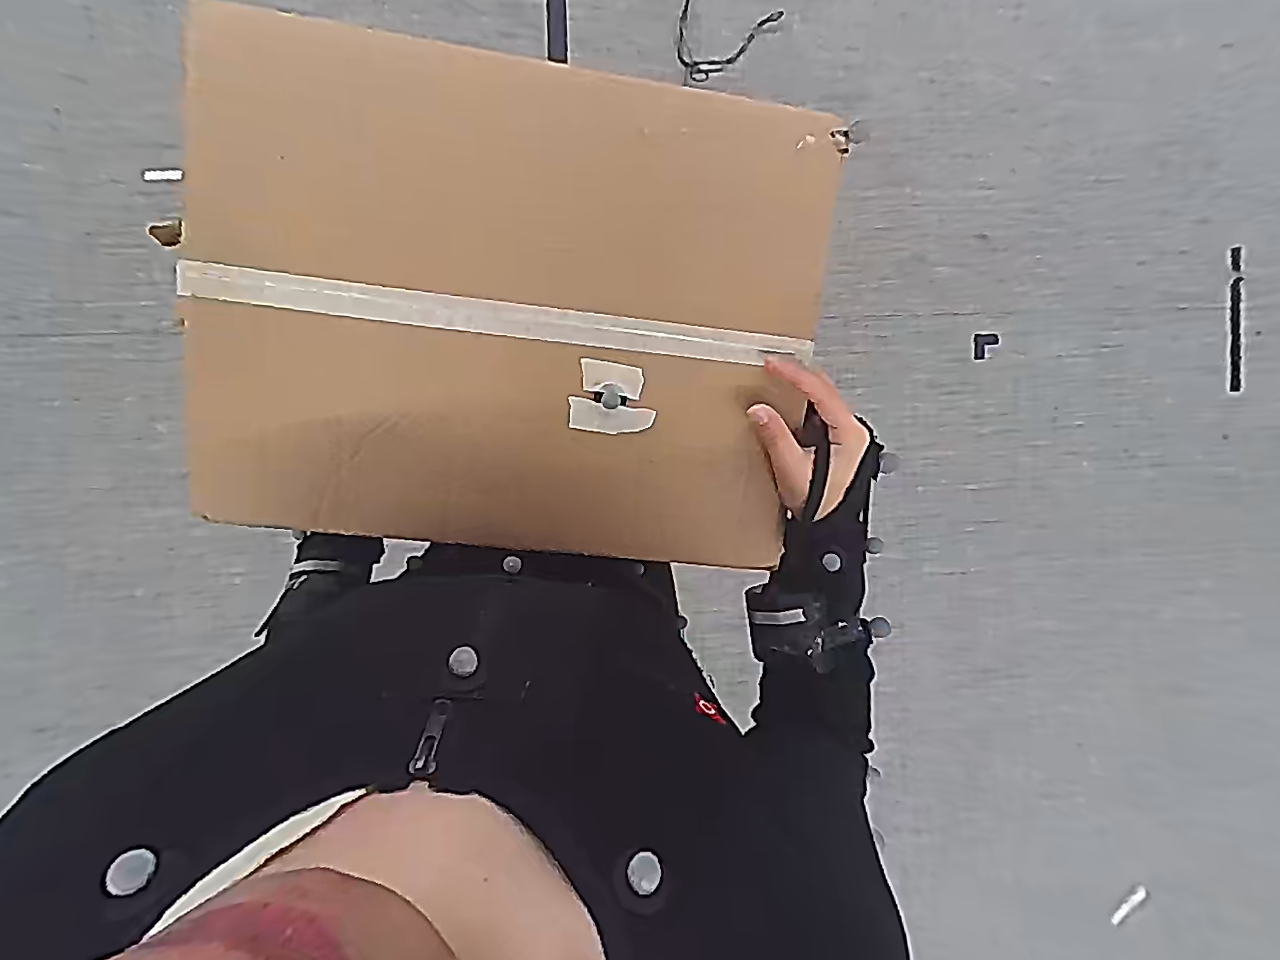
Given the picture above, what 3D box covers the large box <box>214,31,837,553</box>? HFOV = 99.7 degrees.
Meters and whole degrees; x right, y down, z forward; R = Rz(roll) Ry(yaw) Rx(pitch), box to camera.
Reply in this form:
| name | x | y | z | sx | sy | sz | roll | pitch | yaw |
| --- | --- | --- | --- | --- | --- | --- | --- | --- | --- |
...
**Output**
| name | x | y | z | sx | sy | sz | roll | pitch | yaw |
| --- | --- | --- | --- | --- | --- | --- | --- | --- | --- |
| large box | -0.091 | -0.130 | 0.514 | 0.408 | 0.320 | 0.320 | 5 | 99 | -7 |
